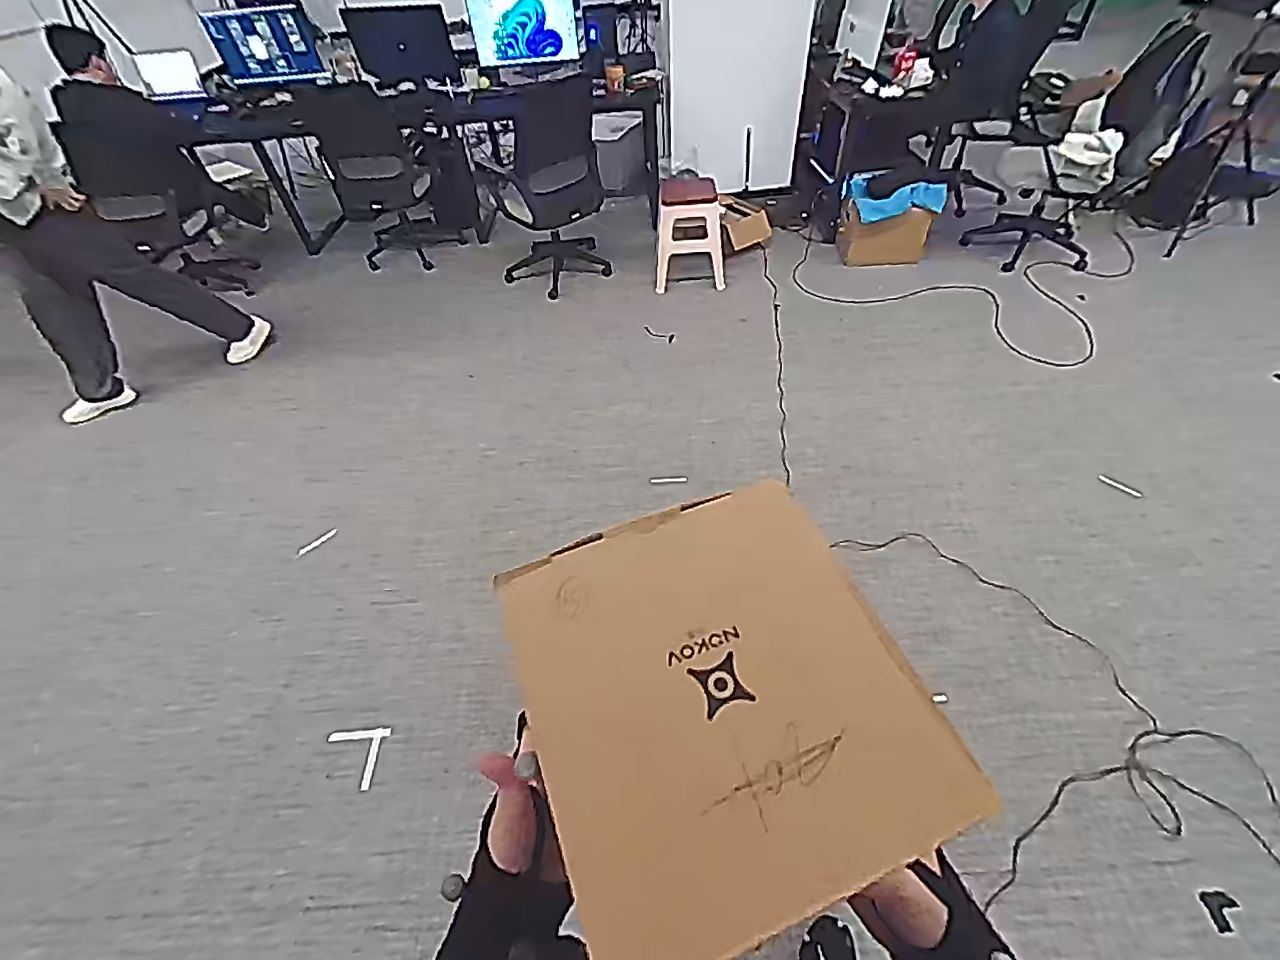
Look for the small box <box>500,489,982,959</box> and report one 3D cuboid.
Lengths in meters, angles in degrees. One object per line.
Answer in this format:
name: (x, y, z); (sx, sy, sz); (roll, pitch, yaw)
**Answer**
small box: (0.035, 0.140, 0.314); (0.168, 0.176, 0.179); (-20, 57, -12)
